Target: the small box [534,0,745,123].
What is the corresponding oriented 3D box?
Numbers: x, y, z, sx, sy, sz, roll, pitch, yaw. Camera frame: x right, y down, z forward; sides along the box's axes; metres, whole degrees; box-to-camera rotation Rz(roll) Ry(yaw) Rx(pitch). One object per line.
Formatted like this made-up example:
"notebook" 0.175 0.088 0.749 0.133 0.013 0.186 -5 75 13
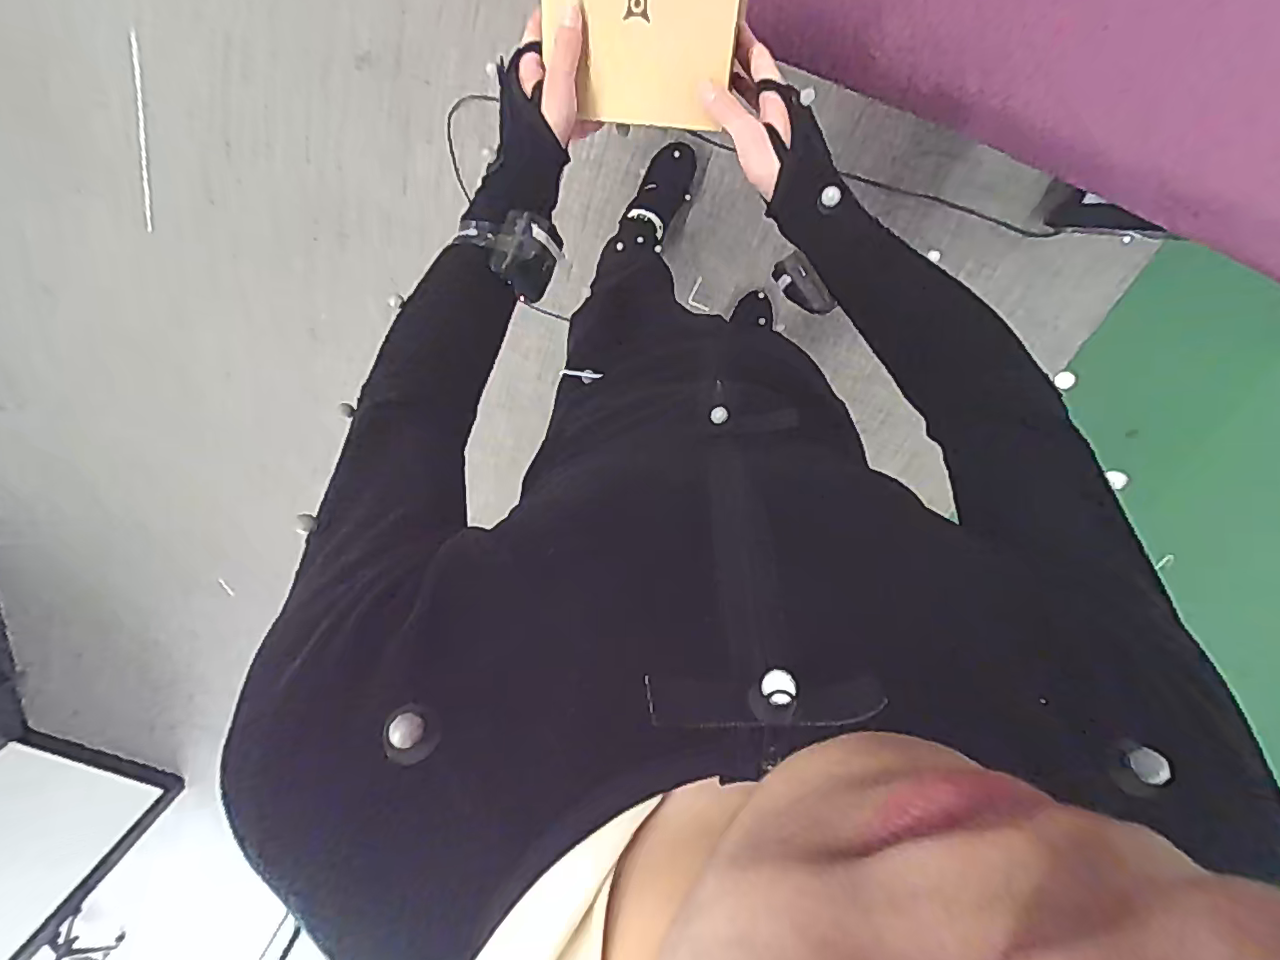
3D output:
"small box" 0.009 -0.441 0.492 0.168 0.176 0.179 9 127 6
